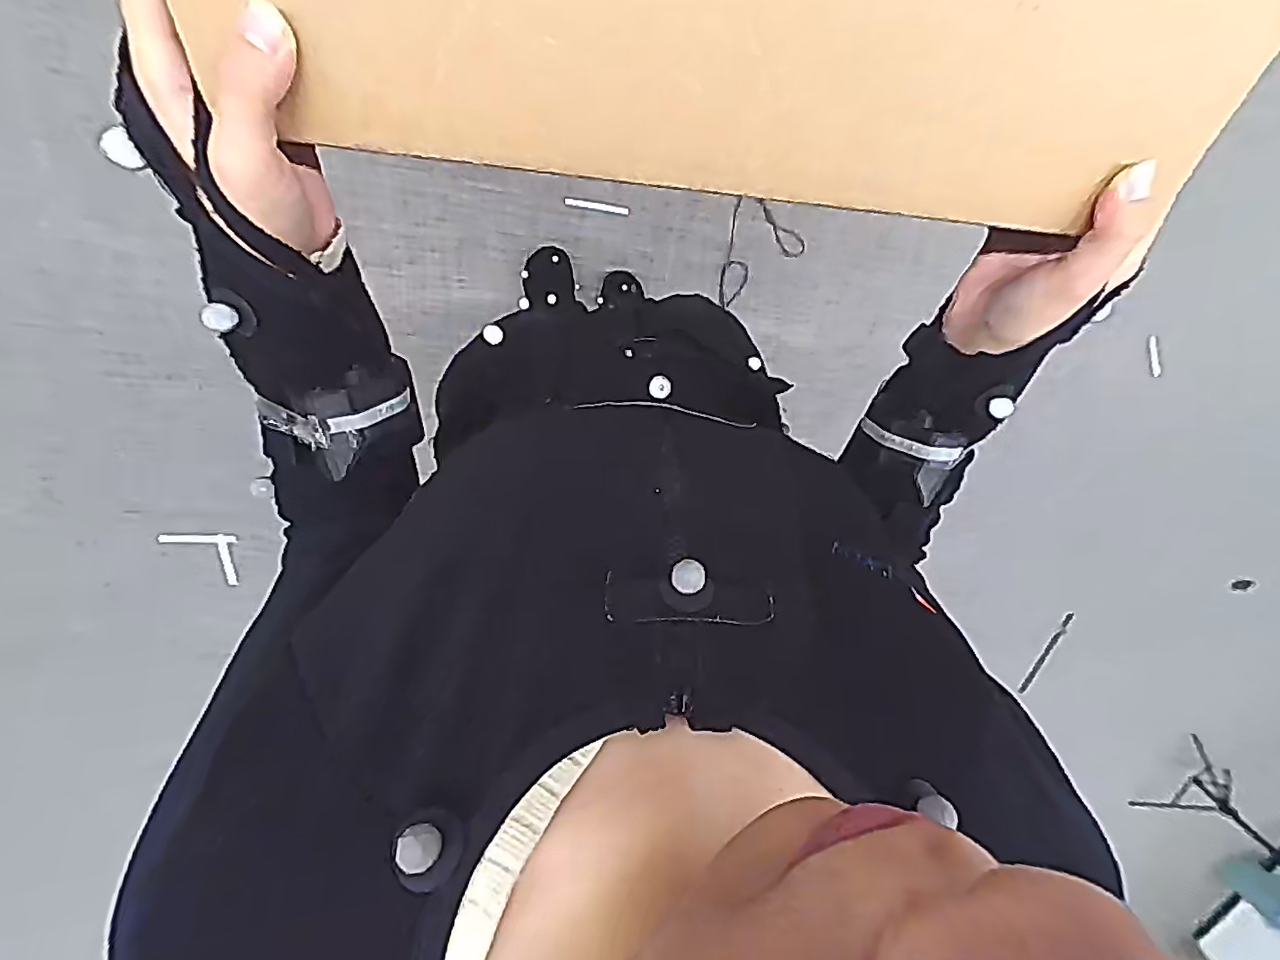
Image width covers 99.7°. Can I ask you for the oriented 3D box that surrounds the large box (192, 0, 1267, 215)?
[{"bbox_3d":[0.039,-0.343,0.250,0.408,0.320,0.320,1,132,-8],"label":"large box"}]
